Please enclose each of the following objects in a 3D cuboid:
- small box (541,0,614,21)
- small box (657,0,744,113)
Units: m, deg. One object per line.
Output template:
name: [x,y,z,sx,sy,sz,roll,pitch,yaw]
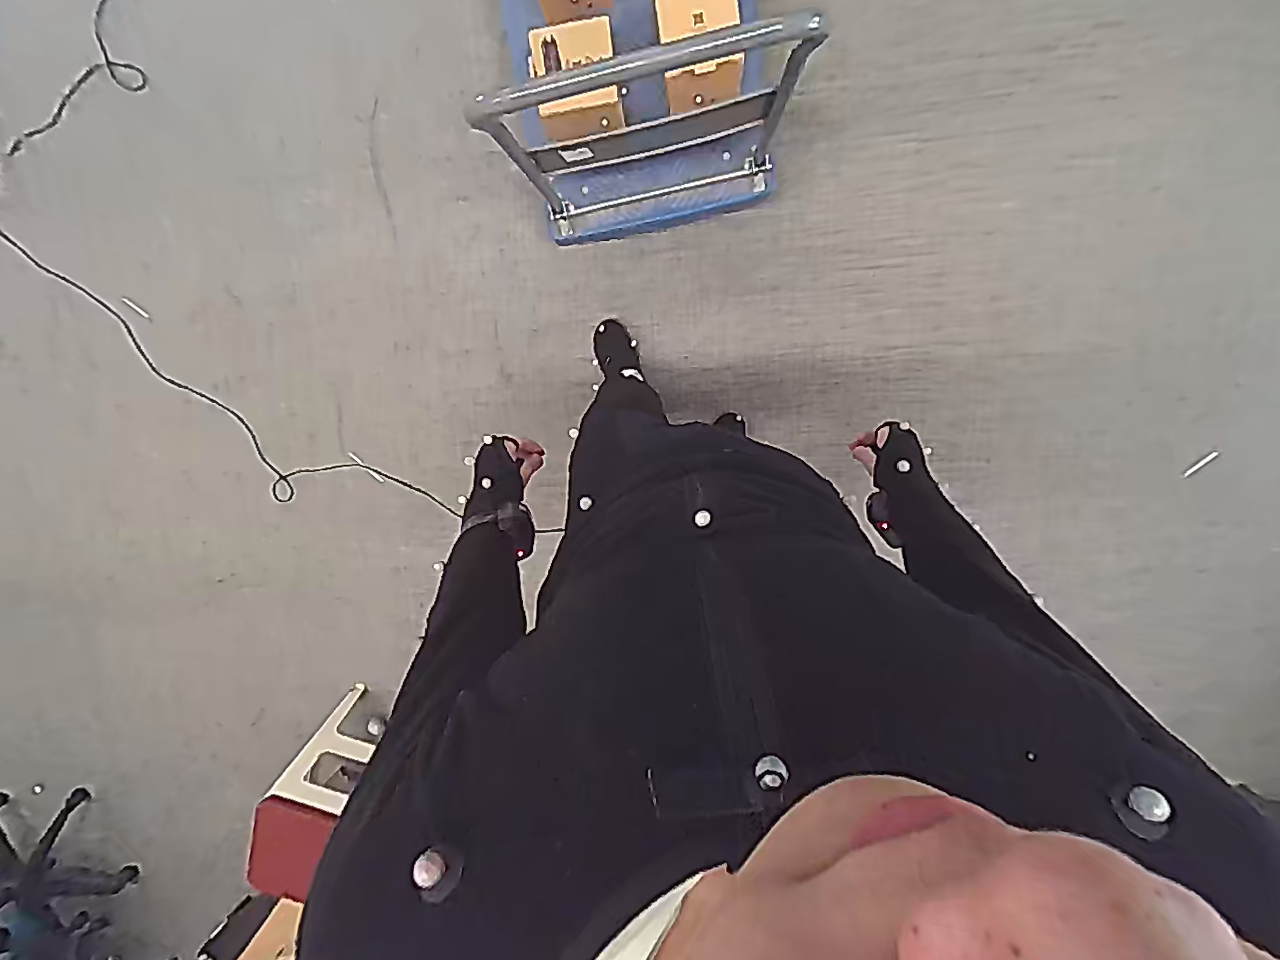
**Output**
small box: [-0.162,-1.167,1.192,0.168,0.176,0.179,-13,99,7]
small box: [0.131,-0.963,1.200,0.168,0.176,0.179,-9,100,7]
